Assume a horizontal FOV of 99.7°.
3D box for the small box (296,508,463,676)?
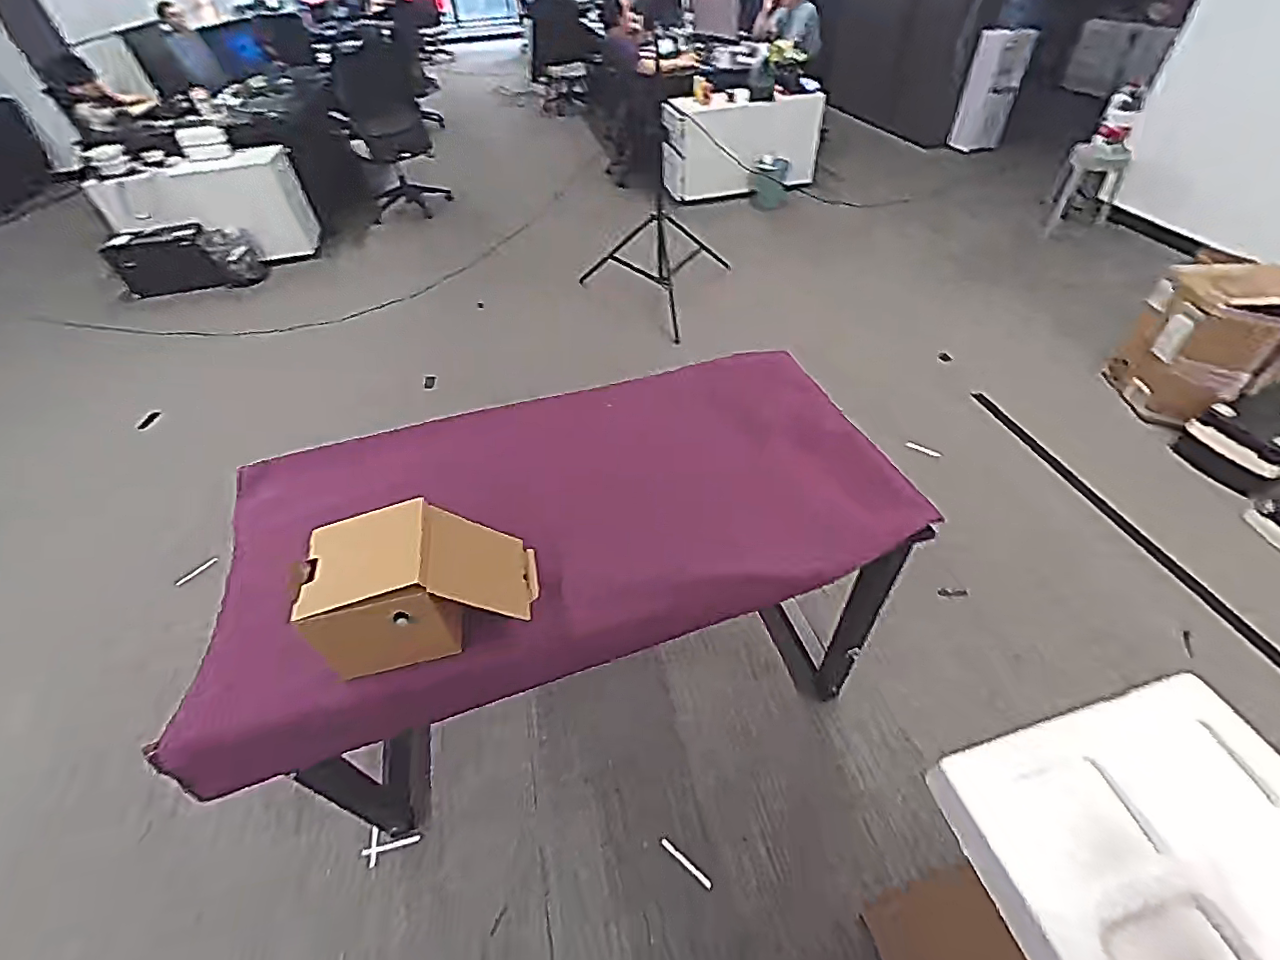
[{"bbox_3d":[-0.378,0.172,0.827,0.179,0.176,0.168,-12,44,-7],"label":"small box"}]
